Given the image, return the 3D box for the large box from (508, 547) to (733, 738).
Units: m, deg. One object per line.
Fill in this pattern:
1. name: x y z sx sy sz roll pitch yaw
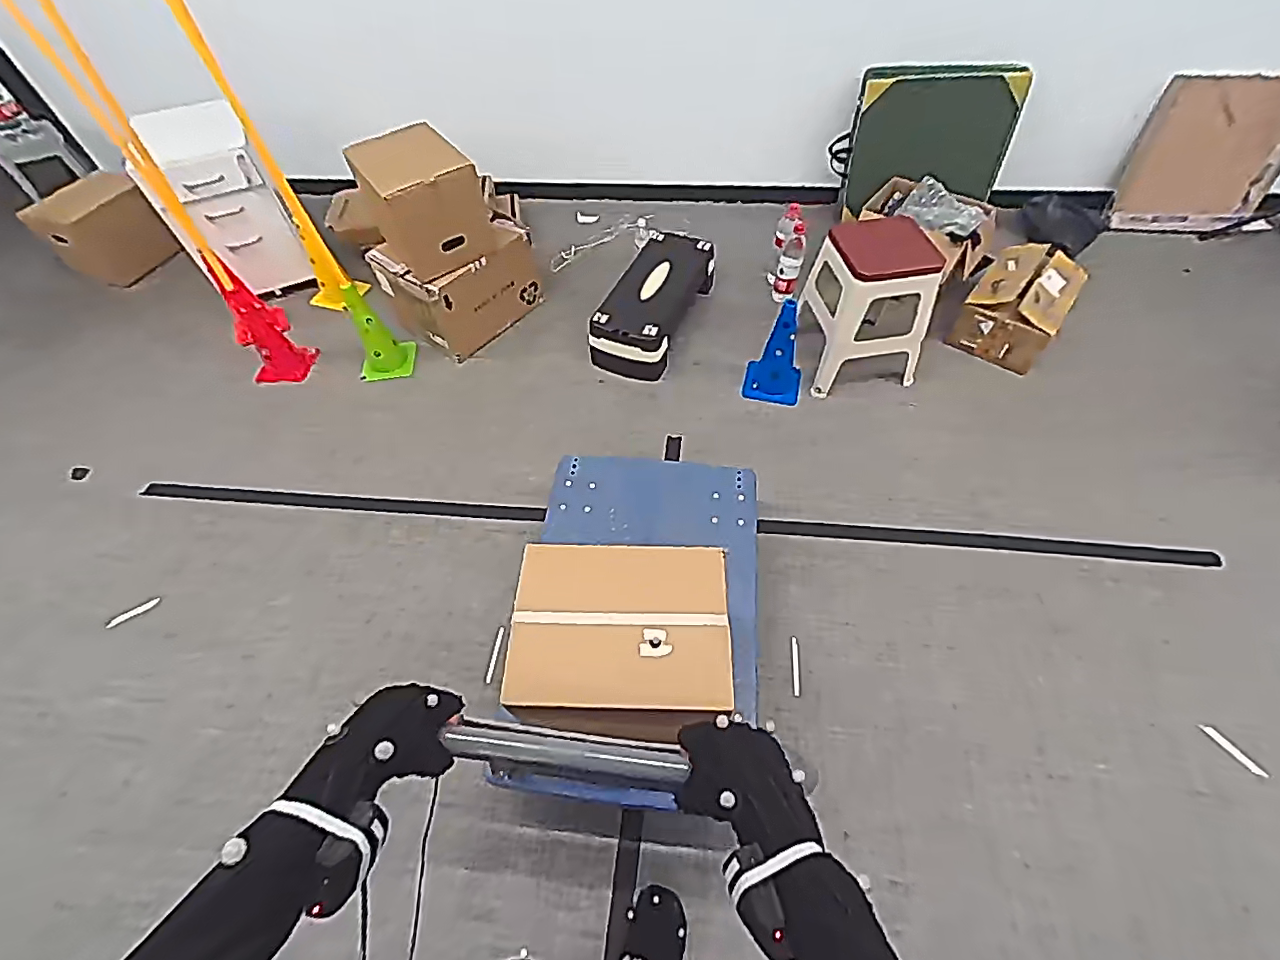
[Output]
1. large box: -0.035 0.352 1.149 0.408 0.320 0.320 1 55 1
